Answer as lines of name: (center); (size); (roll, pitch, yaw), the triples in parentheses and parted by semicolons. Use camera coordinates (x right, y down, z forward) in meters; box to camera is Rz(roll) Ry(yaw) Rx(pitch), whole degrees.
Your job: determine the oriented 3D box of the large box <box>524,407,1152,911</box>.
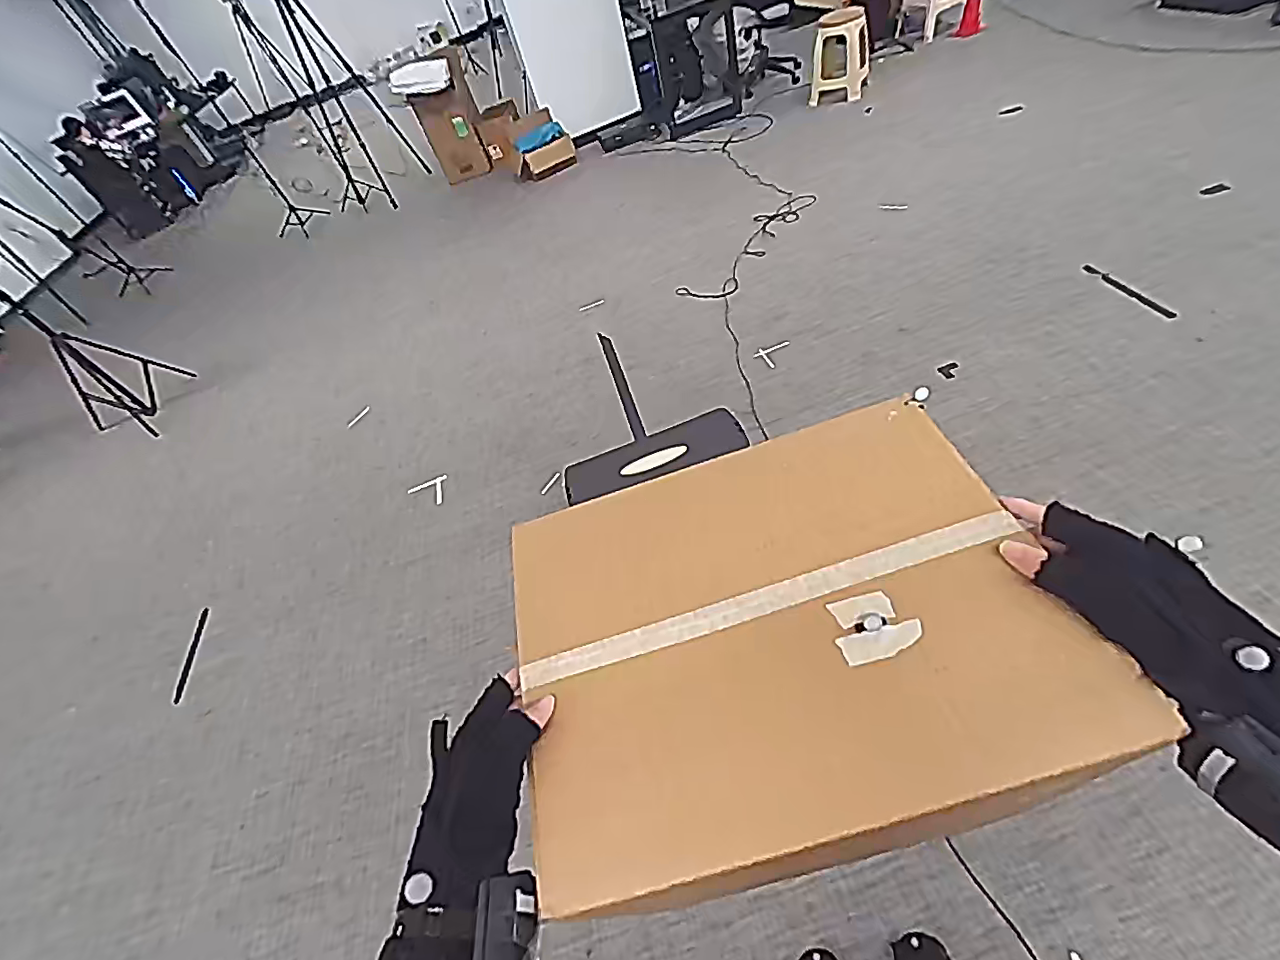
large box: (0.136, 0.193, 0.551); (0.408, 0.320, 0.320); (-19, 50, 3)
